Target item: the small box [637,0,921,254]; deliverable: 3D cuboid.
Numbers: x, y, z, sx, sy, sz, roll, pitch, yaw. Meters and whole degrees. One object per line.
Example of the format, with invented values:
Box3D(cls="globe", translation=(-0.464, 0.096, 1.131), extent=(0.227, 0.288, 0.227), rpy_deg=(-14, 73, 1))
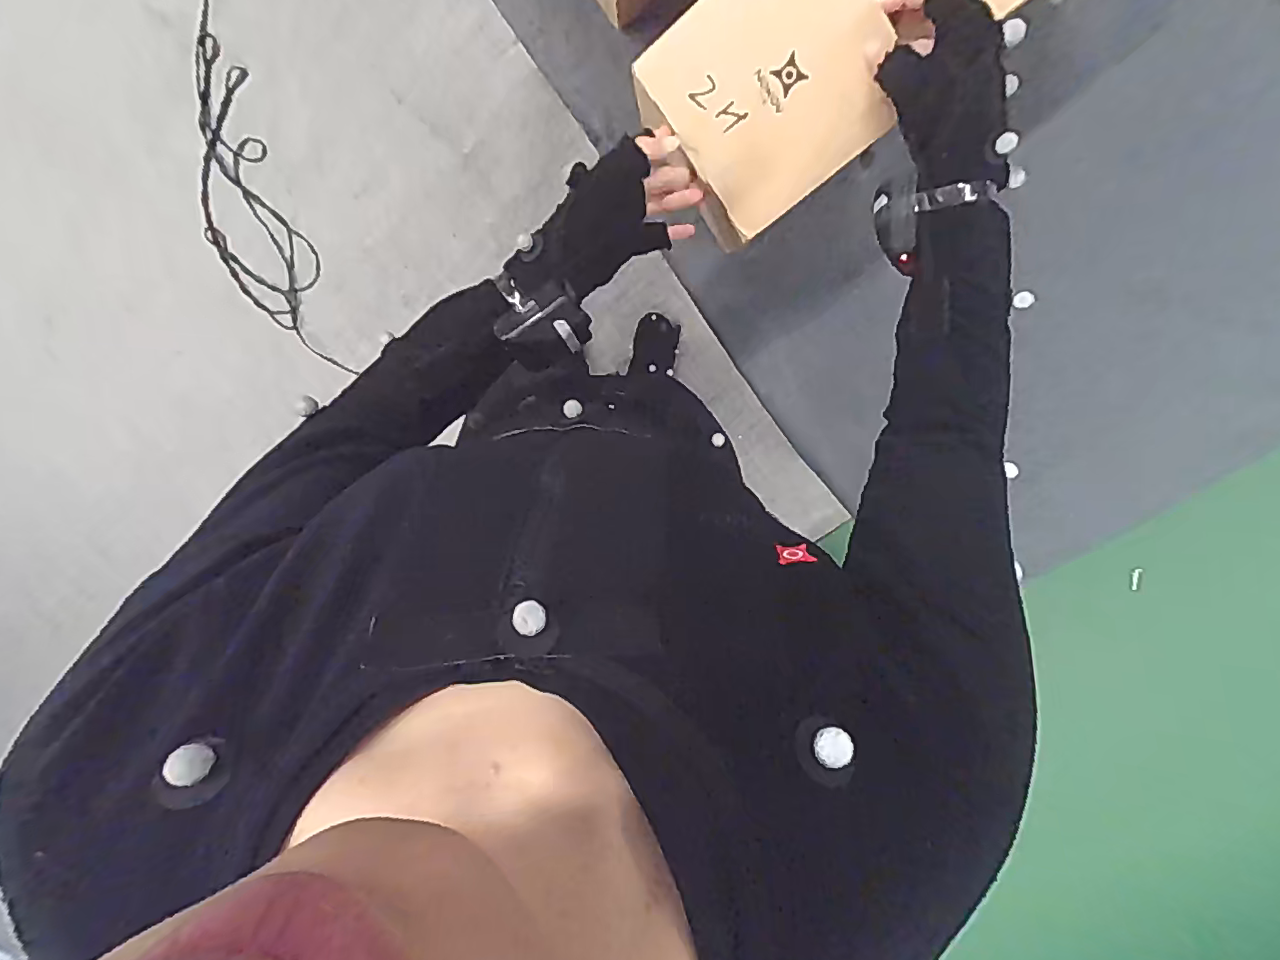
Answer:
Box3D(cls="small box", translation=(0.114, -0.338, 0.508), extent=(0.179, 0.176, 0.168), rpy_deg=(-35, 104, 14))
